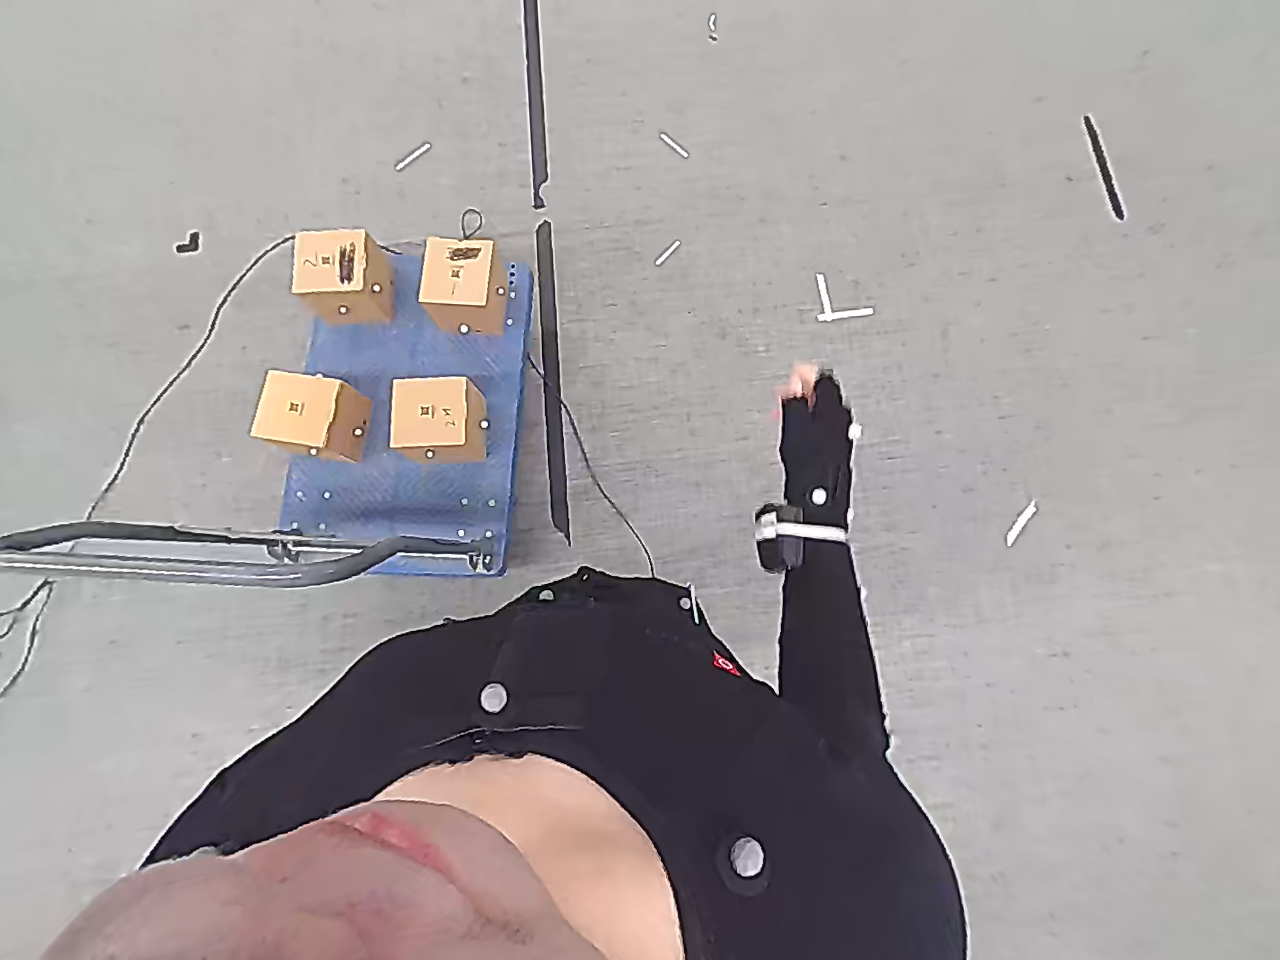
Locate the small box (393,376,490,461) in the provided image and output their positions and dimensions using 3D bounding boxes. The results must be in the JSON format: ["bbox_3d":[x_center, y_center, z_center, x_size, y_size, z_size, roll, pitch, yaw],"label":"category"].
[{"bbox_3d":[-0.478,-0.145,1.323,0.179,0.176,0.168,-2,80,0],"label":"small box"}]

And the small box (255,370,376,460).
[{"bbox_3d":[-0.786,-0.153,1.326,0.179,0.176,0.168,8,79,0],"label":"small box"}]

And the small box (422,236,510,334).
[{"bbox_3d":[-0.438,-0.496,1.388,0.168,0.176,0.179,4,81,1],"label":"small box"}]
